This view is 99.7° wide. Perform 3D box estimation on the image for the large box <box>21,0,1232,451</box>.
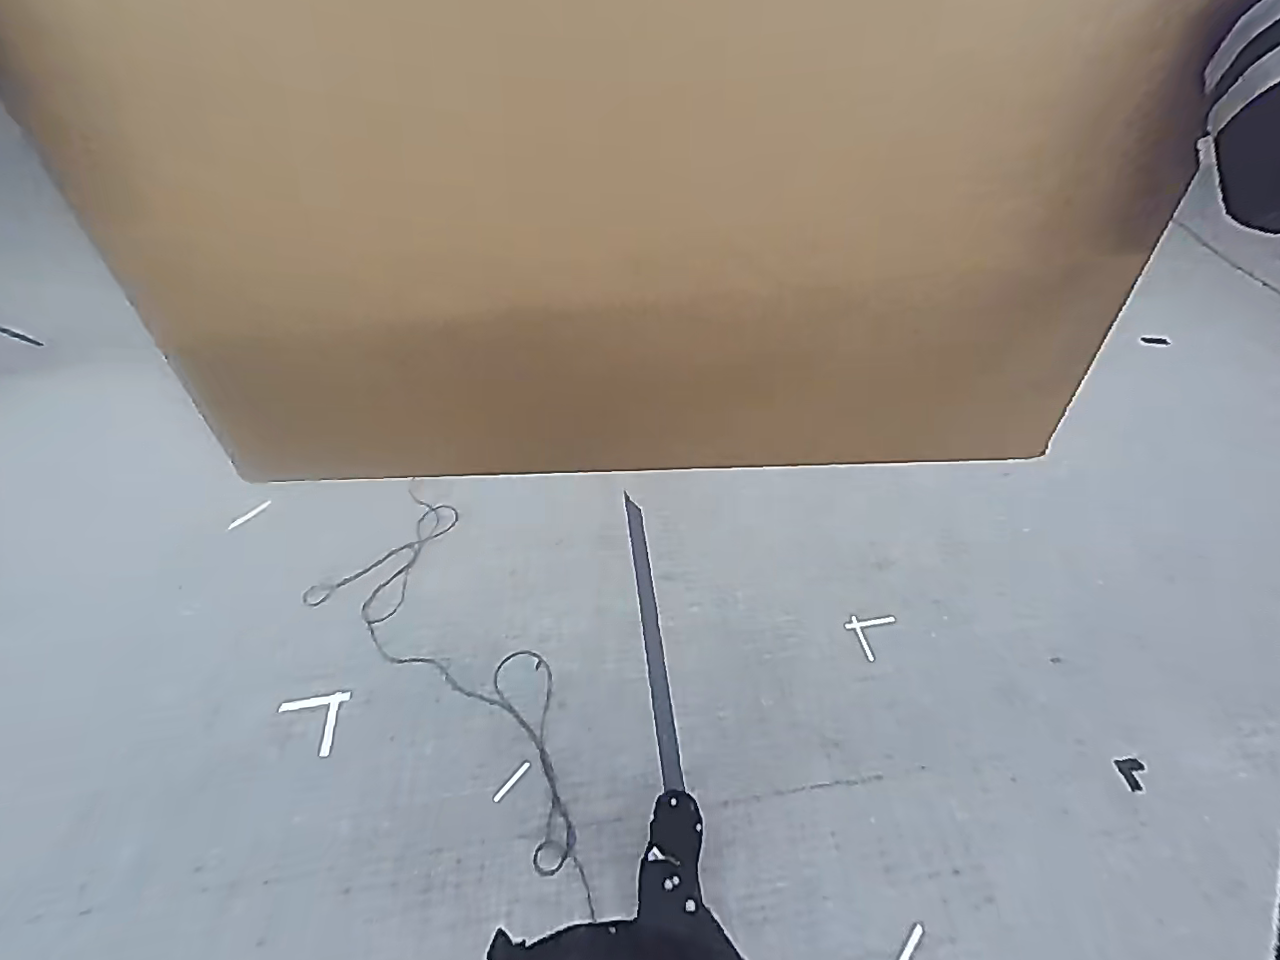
[{"bbox_3d":[-0.004,-0.228,0.304,0.408,0.320,0.320,-1,39,0],"label":"large box"}]
